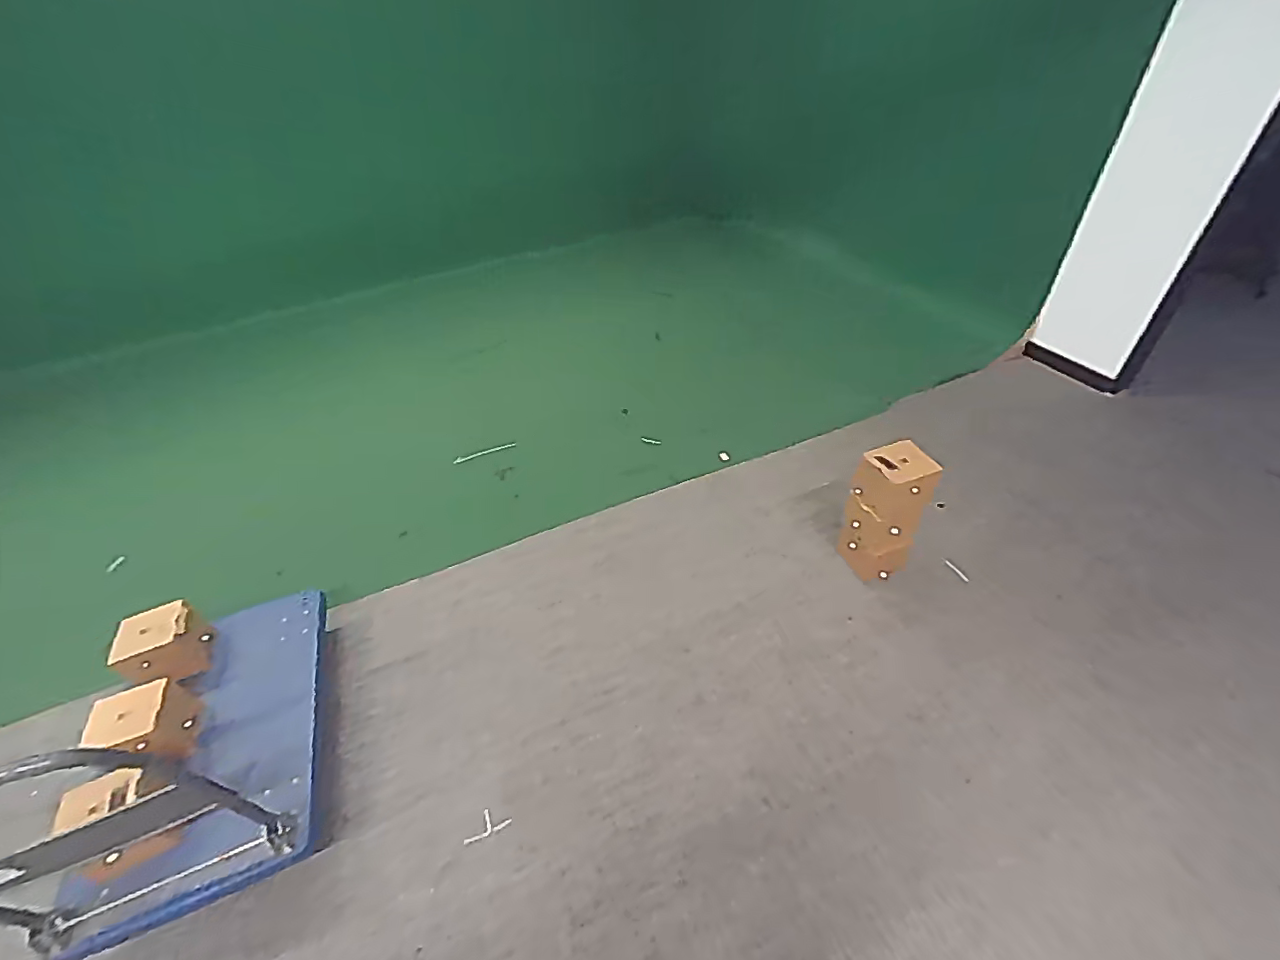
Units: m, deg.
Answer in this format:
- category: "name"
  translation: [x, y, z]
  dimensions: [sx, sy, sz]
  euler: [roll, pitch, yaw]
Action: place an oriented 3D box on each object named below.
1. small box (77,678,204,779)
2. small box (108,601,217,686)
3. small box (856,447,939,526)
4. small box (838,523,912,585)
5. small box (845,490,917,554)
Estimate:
- category: "small box"
  translation: [-1.360, 0.687, 1.486]
  dimensions: [0.179, 0.176, 0.168]
  euler: [-17, 44, -14]
- category: "small box"
  translation: [-1.471, 0.516, 1.678]
  dimensions: [0.179, 0.176, 0.168]
  euler: [-19, 45, -14]
- category: "small box"
  translation: [0.823, 0.023, 1.753]
  dimensions: [0.179, 0.176, 0.168]
  euler: [-16, 44, -11]
- category: "small box"
  translation: [0.845, 0.250, 1.965]
  dimensions: [0.168, 0.176, 0.179]
  euler: [-16, 43, -9]
- category: "small box"
  translation: [0.825, 0.128, 1.858]
  dimensions: [0.179, 0.176, 0.168]
  euler: [-17, 43, -9]
